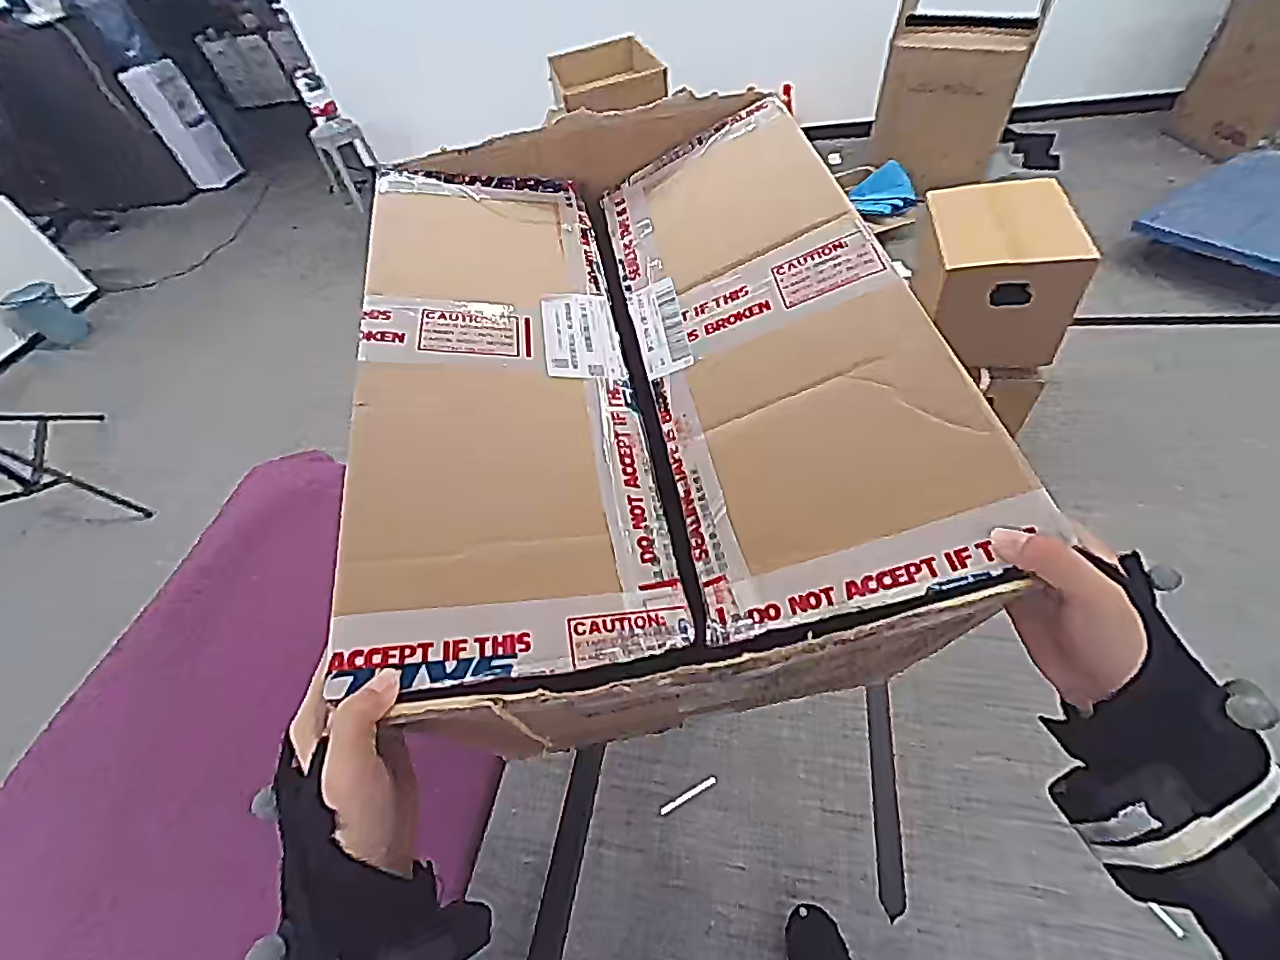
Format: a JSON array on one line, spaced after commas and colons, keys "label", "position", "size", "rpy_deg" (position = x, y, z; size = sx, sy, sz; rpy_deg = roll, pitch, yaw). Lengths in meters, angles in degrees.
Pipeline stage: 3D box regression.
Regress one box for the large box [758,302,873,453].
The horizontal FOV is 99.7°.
[{"label": "large box", "position": [0.555, -0.341, 1.790], "size": [0.320, 0.320, 0.408], "rpy_deg": [1, 52, 12]}]
